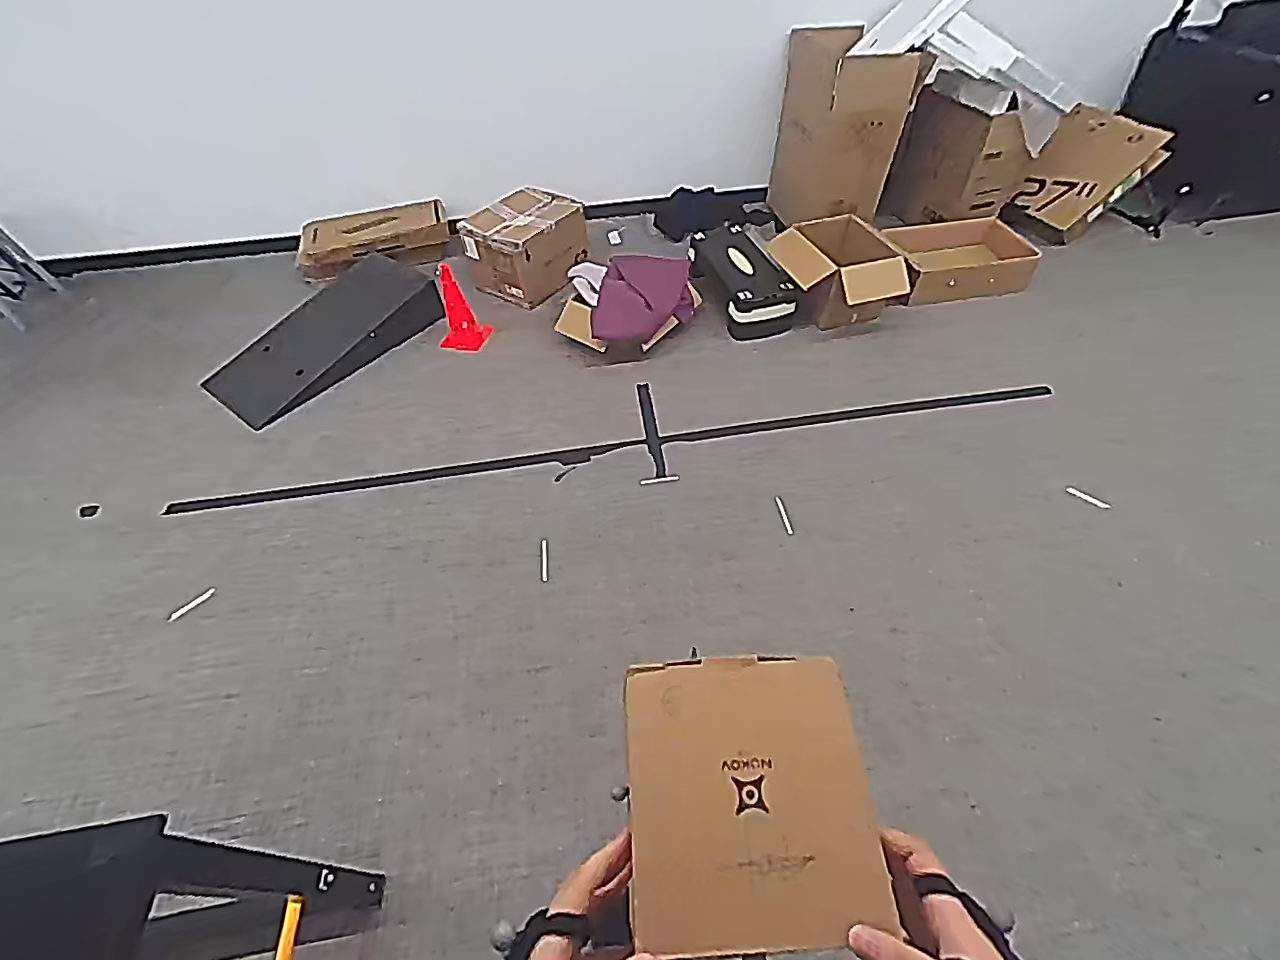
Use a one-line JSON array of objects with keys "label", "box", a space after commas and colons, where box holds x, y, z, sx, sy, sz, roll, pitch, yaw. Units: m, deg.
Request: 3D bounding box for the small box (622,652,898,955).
[{"label": "small box", "box": [0.070, 0.252, 0.437, 0.168, 0.176, 0.179, -2, 57, -3]}]
